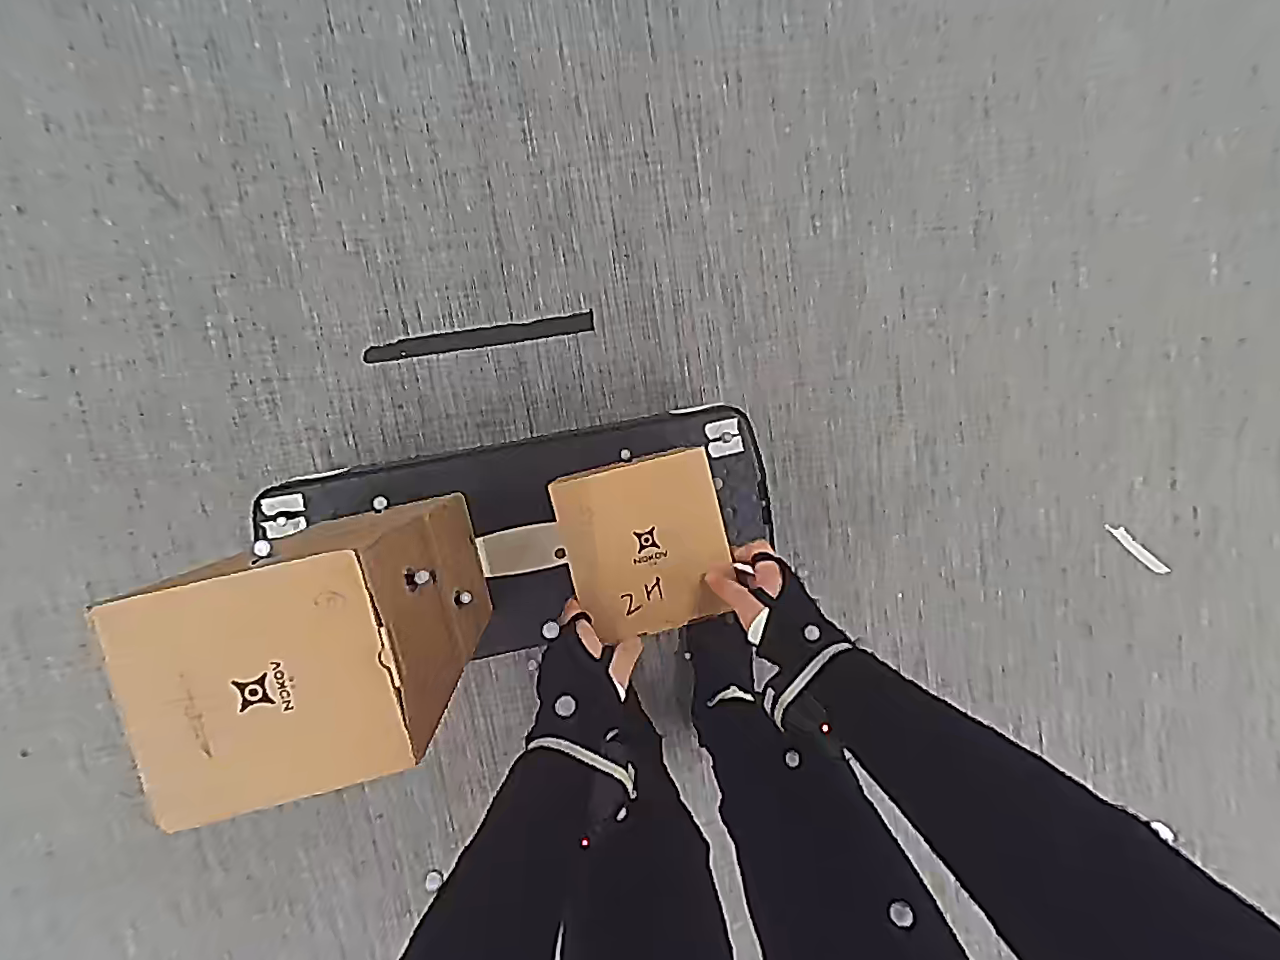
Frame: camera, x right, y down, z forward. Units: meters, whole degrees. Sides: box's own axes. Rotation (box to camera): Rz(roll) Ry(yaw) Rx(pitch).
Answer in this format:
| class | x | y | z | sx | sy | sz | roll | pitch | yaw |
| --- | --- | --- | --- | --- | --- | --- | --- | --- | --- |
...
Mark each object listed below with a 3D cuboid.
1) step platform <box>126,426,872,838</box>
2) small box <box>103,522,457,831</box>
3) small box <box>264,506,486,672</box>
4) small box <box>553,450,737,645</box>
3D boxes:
| class | x | y | z | sx | sy | sz | roll | pitch | yaw |
| --- | --- | --- | --- | --- | --- | --- | --- | --- | --- |
| step platform | -0.117 | 0.133 | 0.599 | 0.684 | 0.204 | 0.286 | -11 | 96 | -6 |
| small box | -0.266 | 0.140 | 0.454 | 0.179 | 0.176 | 0.168 | -13 | 95 | -5 |
| small box | -0.284 | 0.125 | 0.616 | 0.179 | 0.176 | 0.168 | -13 | 96 | -5 |
| small box | -0.001 | 0.067 | 0.639 | 0.168 | 0.176 | 0.179 | -13 | 94 | -3 |
